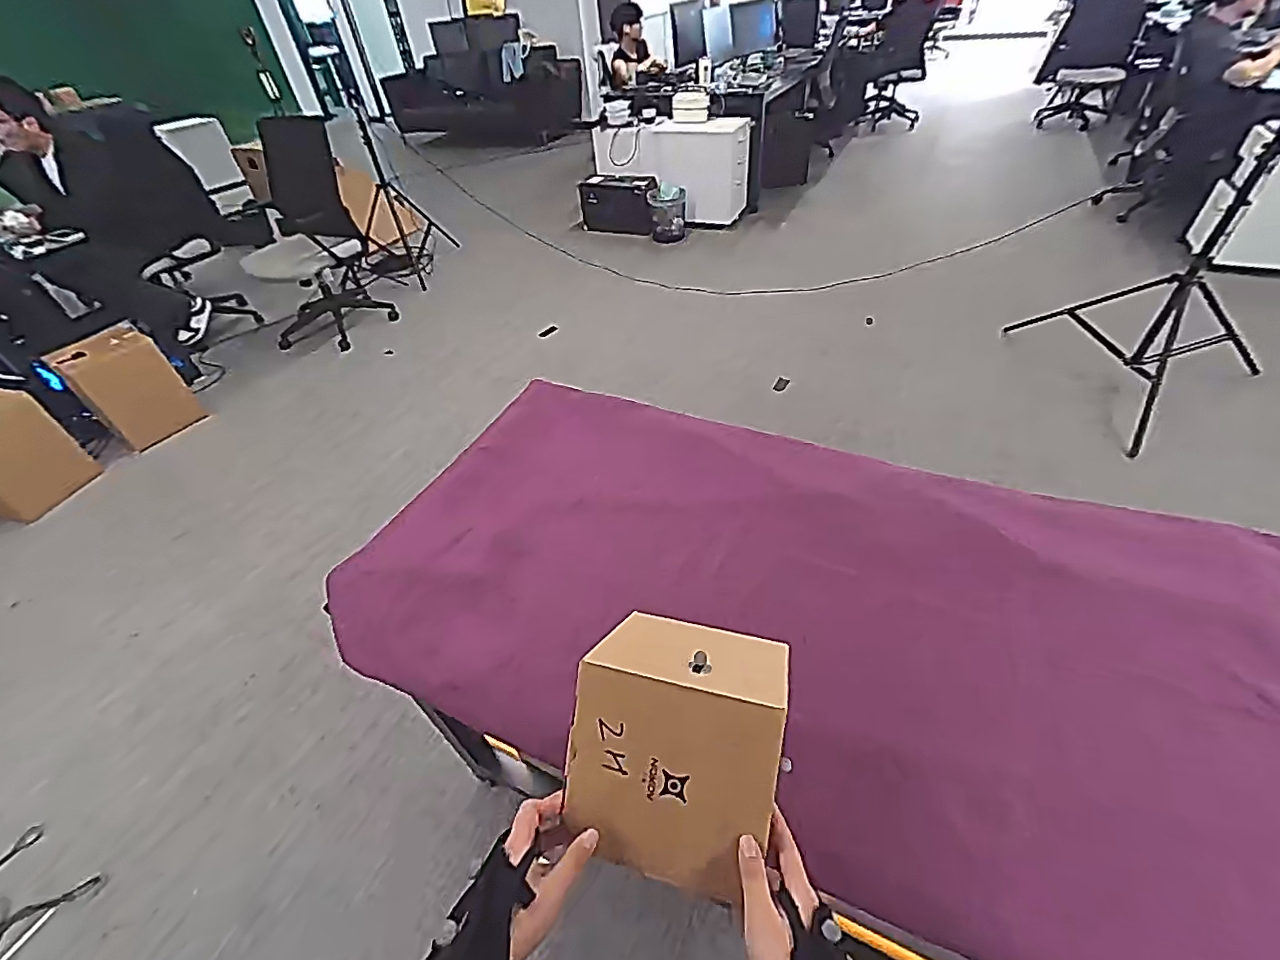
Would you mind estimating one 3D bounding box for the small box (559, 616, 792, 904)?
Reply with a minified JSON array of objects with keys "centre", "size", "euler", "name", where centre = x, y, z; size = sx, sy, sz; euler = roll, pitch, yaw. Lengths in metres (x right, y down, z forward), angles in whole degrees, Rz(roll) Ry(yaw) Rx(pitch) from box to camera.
[{"centre":[0.044,0.241,0.518],"size":[0.179,0.168,0.176],"euler":[8,2,15],"name":"small box"}]
